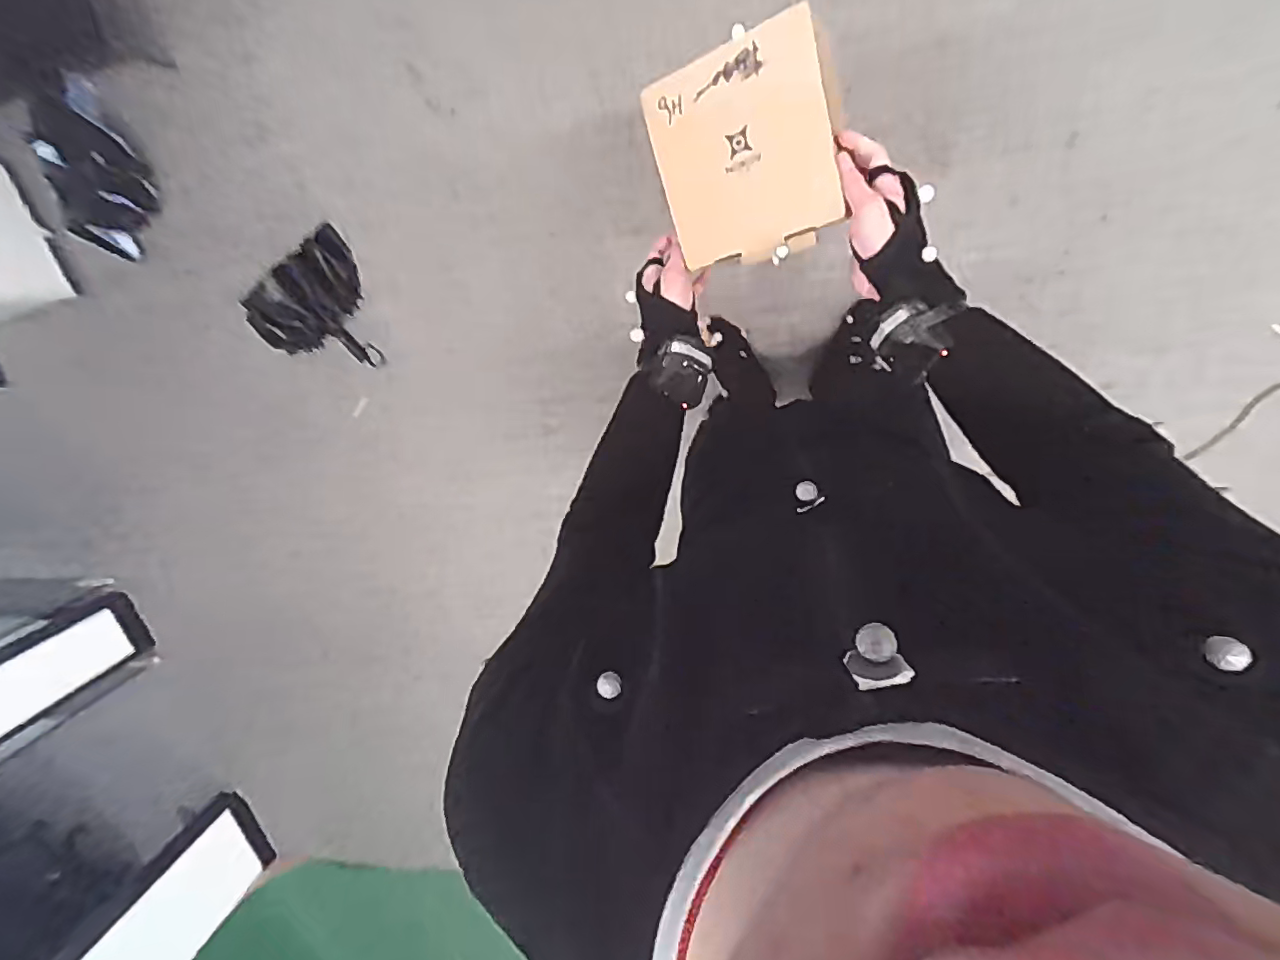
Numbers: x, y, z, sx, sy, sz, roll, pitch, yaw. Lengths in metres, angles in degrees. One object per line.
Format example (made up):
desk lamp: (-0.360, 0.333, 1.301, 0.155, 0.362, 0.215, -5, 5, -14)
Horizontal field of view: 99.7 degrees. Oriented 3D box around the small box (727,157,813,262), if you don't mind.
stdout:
small box: (0.296, -0.608, 1.235, 0.168, 0.176, 0.179, -8, 111, 17)
